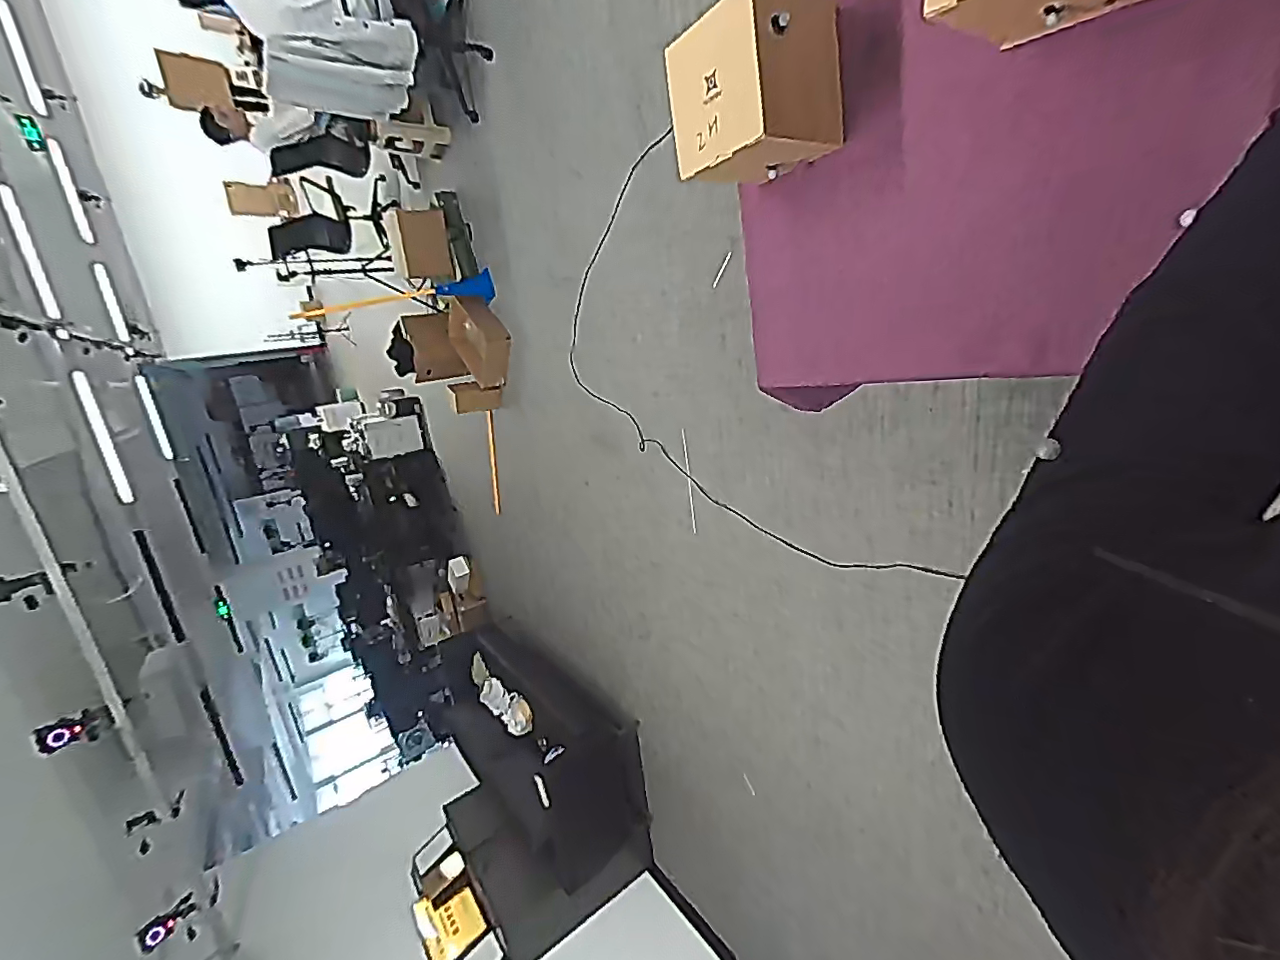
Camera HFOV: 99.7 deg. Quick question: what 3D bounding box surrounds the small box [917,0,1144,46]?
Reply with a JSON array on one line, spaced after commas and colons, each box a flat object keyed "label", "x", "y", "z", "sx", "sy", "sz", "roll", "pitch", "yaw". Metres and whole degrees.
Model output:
[{"label": "small box", "x": 0.373, "y": -0.523, "z": 0.471, "sx": 0.168, "sy": 0.176, "sz": 0.179, "roll": 21, "pitch": 123, "yaw": 51}]

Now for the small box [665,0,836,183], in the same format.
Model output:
[{"label": "small box", "x": 0.159, "y": -0.545, "z": 0.770, "sx": 0.168, "sy": 0.176, "sz": 0.179, "roll": 10, "pitch": 113, "yaw": 54}]
